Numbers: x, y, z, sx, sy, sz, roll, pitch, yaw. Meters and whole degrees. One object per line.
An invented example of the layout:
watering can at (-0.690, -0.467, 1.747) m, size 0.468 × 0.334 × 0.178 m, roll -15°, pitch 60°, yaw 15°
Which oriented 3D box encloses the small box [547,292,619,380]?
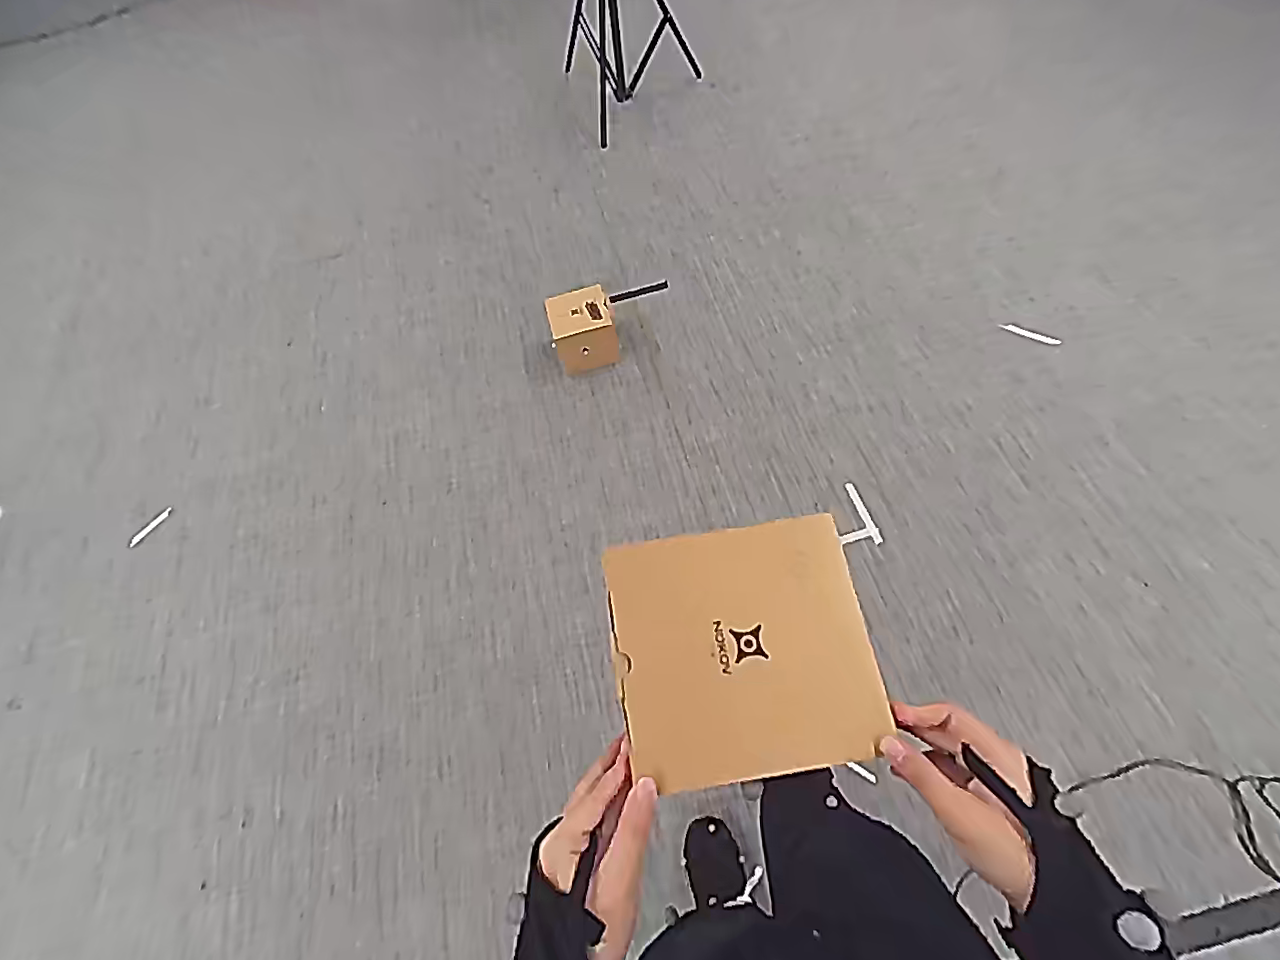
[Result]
small box at (-0.167, -0.433, 1.641) m, size 0.179 × 0.176 × 0.168 m, roll -15°, pitch 63°, yaw -1°

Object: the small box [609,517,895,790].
small box at (0.075, 0.142, 0.456) m, size 0.179 × 0.176 × 0.168 m, roll -9°, pitch 69°, yaw -1°
